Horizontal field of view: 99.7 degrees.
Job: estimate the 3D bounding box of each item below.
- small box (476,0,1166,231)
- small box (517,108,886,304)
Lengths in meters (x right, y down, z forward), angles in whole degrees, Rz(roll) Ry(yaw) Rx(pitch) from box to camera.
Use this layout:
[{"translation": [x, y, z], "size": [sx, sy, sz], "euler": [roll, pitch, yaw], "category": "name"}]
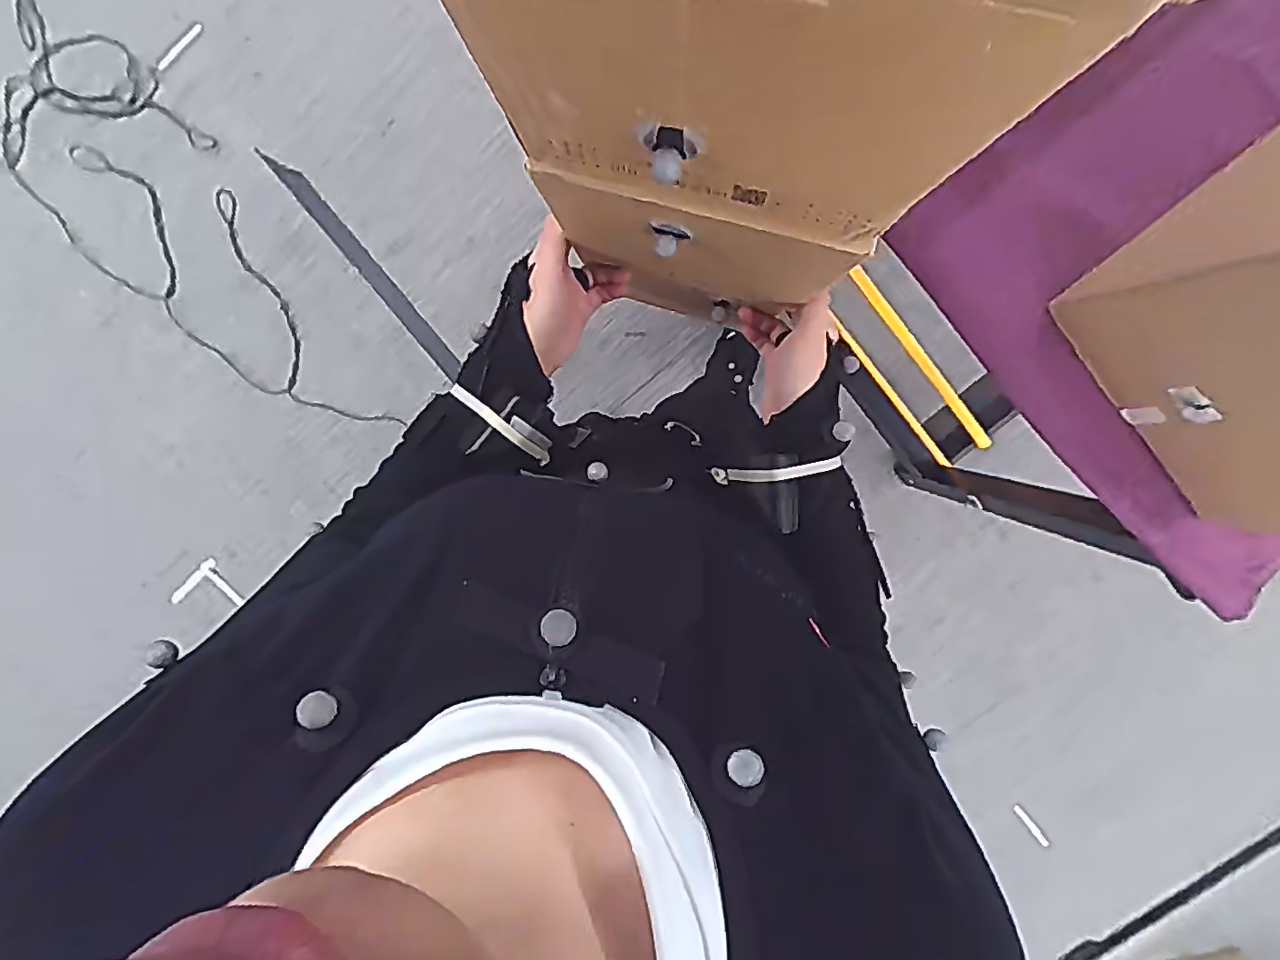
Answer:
[{"translation": [0.042, -0.200, 0.157], "size": [0.168, 0.176, 0.179], "euler": [13, 100, 1], "category": "small box"}, {"translation": [0.049, -0.215, 0.319], "size": [0.179, 0.176, 0.168], "euler": [14, 99, 0], "category": "small box"}]
